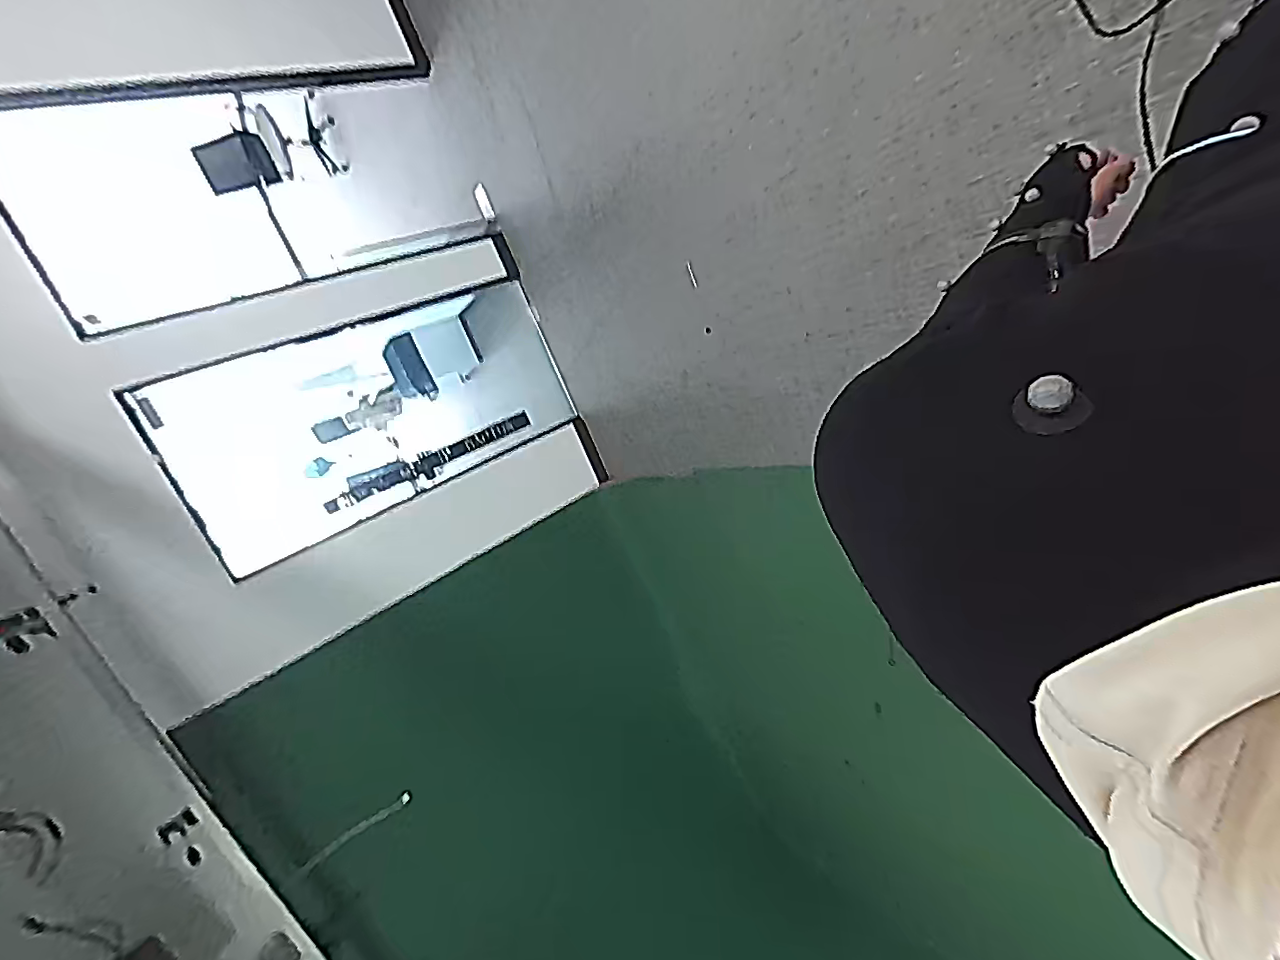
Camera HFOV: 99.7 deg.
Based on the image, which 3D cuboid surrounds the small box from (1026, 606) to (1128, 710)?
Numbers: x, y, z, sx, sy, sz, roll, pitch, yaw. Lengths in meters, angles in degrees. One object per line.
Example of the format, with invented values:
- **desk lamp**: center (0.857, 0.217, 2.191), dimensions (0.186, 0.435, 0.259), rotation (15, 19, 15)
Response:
- **small box**: center (1.158, 0.460, 1.431), dimensions (0.168, 0.176, 0.179), rotation (6, 121, 57)
